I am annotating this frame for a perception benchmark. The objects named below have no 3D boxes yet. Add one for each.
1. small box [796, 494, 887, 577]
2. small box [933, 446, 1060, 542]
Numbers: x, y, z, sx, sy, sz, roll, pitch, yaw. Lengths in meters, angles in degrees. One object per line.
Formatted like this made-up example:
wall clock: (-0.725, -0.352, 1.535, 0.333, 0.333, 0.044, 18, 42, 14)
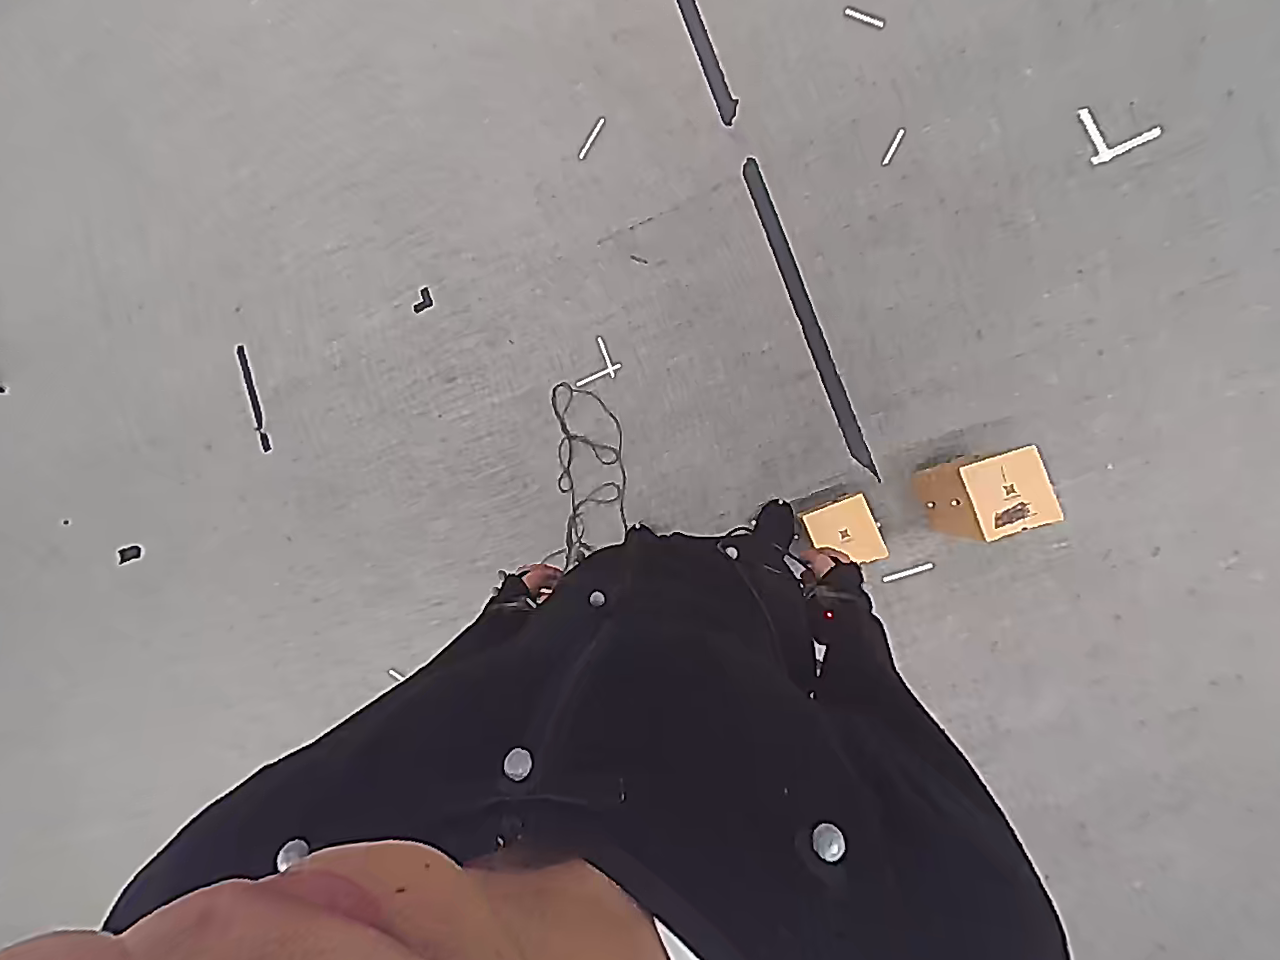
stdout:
small box: (0.541, 0.148, 1.478, 0.168, 0.176, 0.179, -23, 85, 9)
small box: (0.819, 0.033, 1.262, 0.168, 0.176, 0.179, -19, 85, 9)
